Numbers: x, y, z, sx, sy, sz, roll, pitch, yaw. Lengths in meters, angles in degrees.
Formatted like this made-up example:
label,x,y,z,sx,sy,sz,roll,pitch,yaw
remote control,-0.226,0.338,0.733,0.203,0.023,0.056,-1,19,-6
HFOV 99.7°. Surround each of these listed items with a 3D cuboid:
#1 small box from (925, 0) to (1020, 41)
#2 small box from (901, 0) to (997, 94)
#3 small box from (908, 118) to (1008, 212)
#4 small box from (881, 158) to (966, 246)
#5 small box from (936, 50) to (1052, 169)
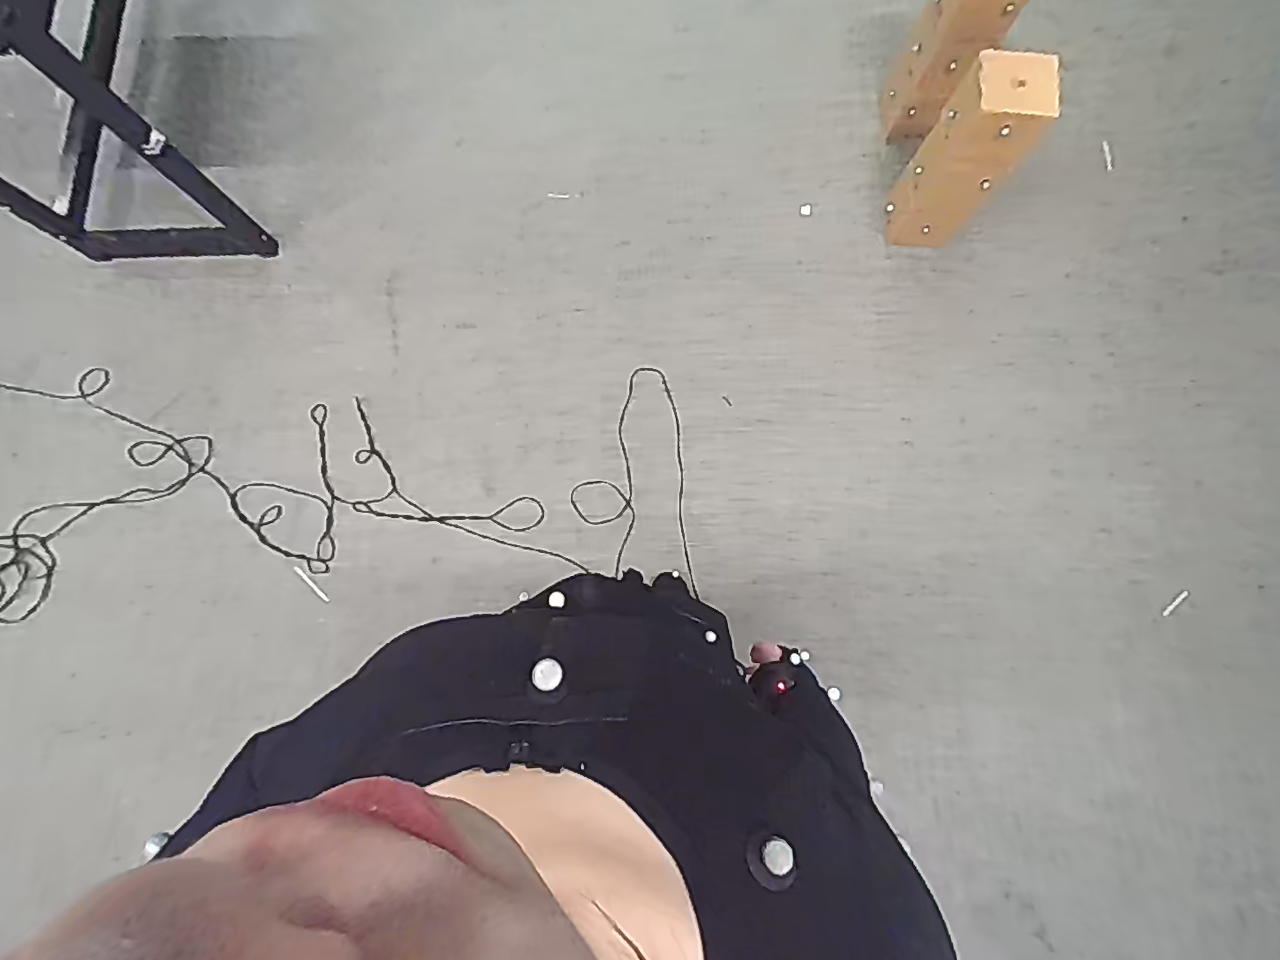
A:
label,x,y,z,sx,sy,sz,roll,pitch,yaw
small box,0.860,-1.262,1.373,0.179,0.176,0.168,-3,78,0
small box,0.864,-1.236,1.534,0.179,0.176,0.168,-3,80,0
small box,0.855,-0.856,1.467,0.179,0.176,0.168,3,80,1
small box,0.852,-0.830,1.630,0.179,0.176,0.168,5,80,2
small box,0.850,-0.887,1.308,0.179,0.176,0.168,6,81,1
